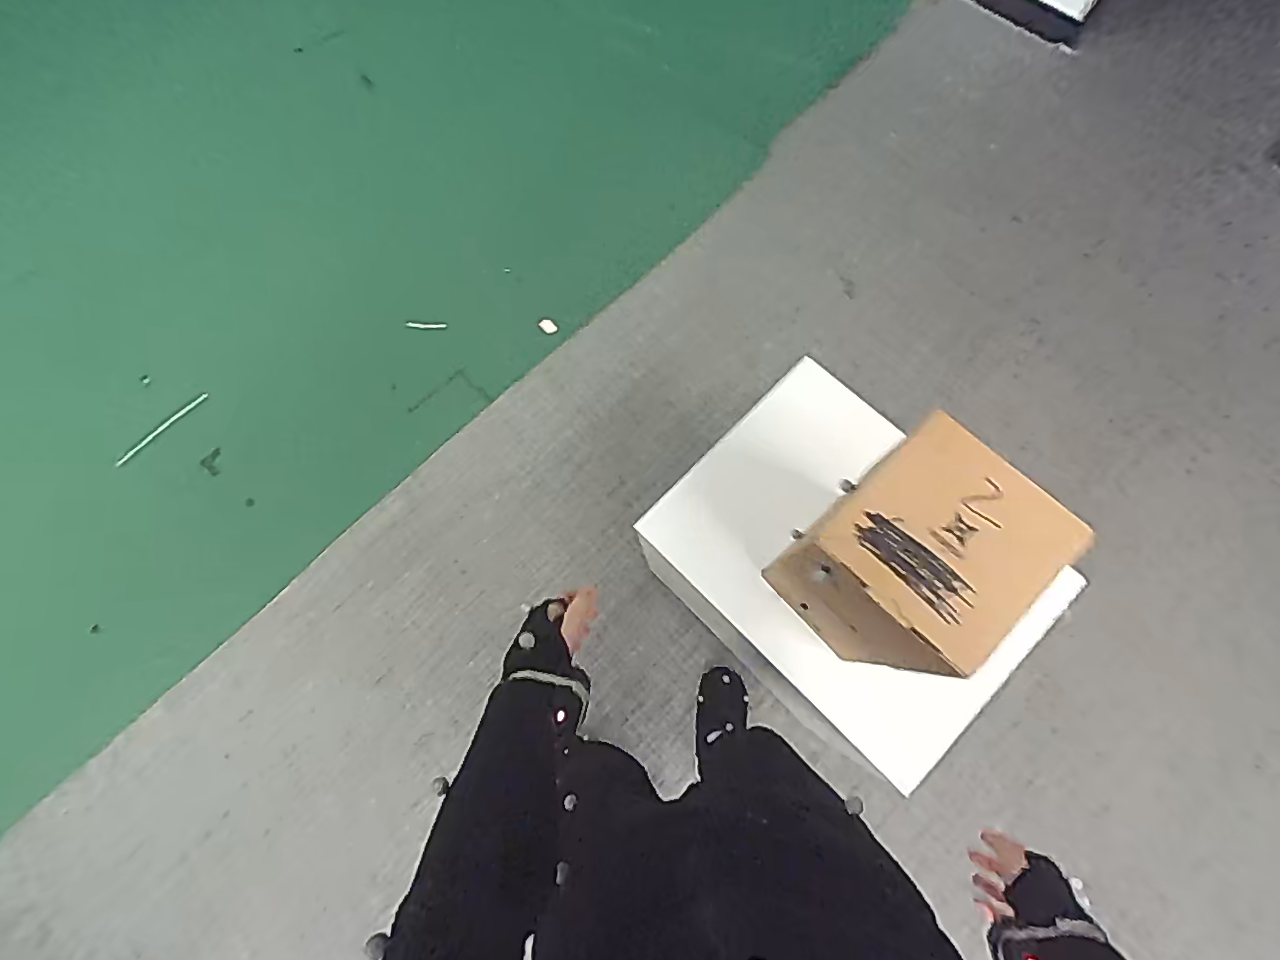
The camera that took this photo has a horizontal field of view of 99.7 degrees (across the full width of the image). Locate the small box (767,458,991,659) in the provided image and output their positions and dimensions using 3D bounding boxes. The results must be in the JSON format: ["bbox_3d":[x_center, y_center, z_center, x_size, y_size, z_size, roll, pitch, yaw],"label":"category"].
[{"bbox_3d":[0.288,0.106,0.697,0.179,0.176,0.168,-41,75,-9],"label":"small box"}]
